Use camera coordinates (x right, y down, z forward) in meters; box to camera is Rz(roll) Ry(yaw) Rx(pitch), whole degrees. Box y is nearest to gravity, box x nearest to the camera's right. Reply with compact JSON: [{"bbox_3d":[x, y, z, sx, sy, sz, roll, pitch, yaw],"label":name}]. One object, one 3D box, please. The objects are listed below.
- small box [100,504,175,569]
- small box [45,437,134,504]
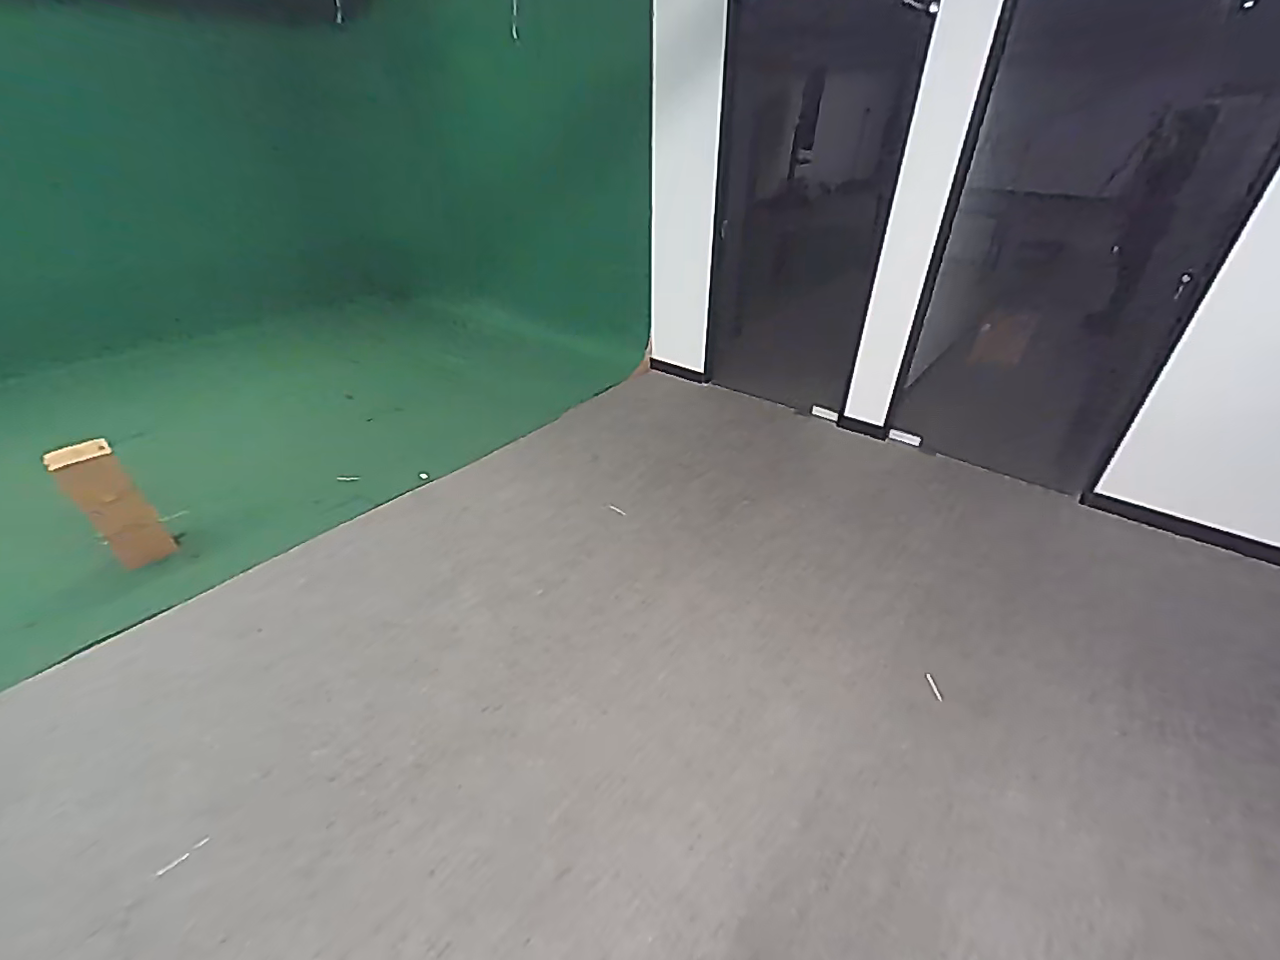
[{"bbox_3d":[-2.061,0.233,2.227,0.168,0.176,0.179,29,44,34],"label":"small box"},{"bbox_3d":[-2.069,-0.034,2.035,0.168,0.176,0.179,27,43,34],"label":"small box"}]
